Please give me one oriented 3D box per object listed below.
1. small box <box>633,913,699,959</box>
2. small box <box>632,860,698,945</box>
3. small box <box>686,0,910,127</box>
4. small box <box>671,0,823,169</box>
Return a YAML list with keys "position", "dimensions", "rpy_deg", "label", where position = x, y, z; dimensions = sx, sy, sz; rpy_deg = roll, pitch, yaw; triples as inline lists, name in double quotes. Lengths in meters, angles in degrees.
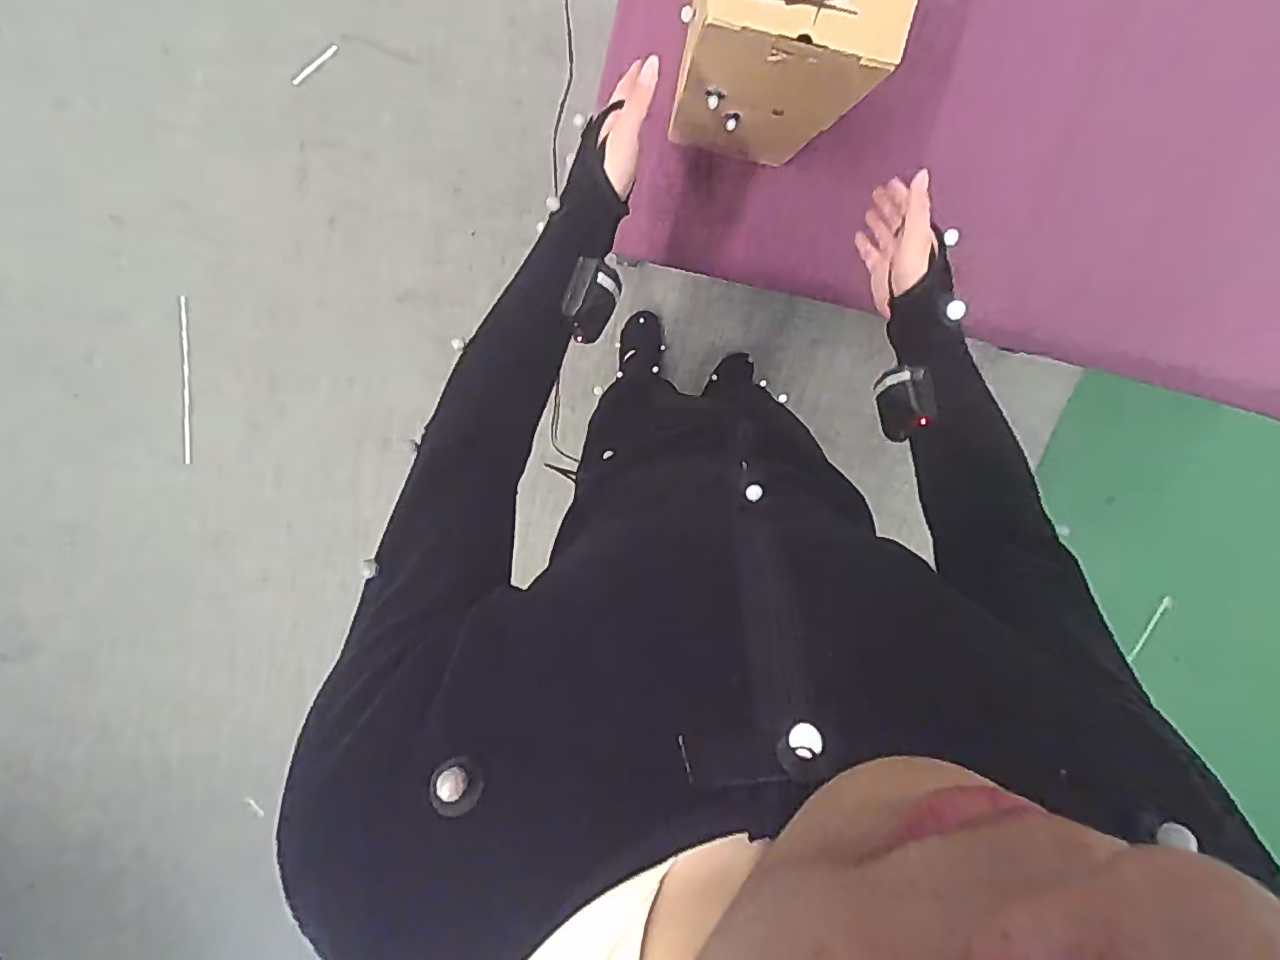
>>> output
- position: [0.076, 1.453, 1.616]
  dimensions: [0.168, 0.176, 0.179]
  rpy_deg: [17, 107, -6]
  label: "small box"
- position: [0.081, 1.399, 1.771]
  dimensions: [0.168, 0.176, 0.179]
  rpy_deg: [17, 107, -5]
  label: "small box"
- position: [0.141, -0.454, 0.489]
  dimensions: [0.168, 0.176, 0.179]
  rpy_deg: [10, 106, -5]
  label: "small box"
- position: [0.136, -0.503, 0.647]
  dimensions: [0.168, 0.176, 0.179]
  rpy_deg: [10, 107, -4]
  label: "small box"
